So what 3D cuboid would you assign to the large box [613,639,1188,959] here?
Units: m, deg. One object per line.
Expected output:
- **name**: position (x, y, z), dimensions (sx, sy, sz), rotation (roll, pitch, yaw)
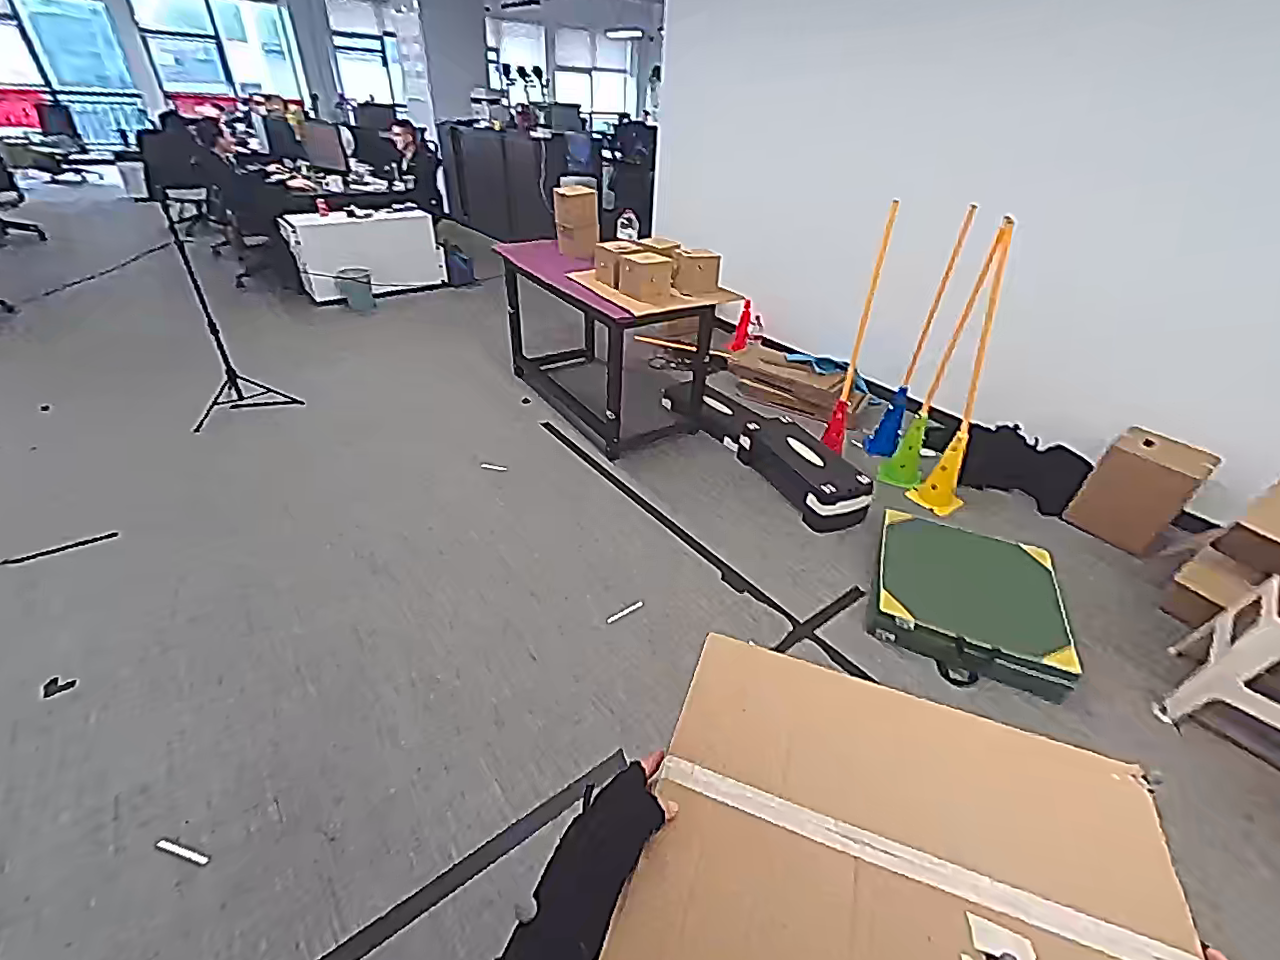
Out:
- **large box**: position (0.212, 0.426, 0.539), dimensions (0.408, 0.320, 0.320), rotation (14, 41, 16)
